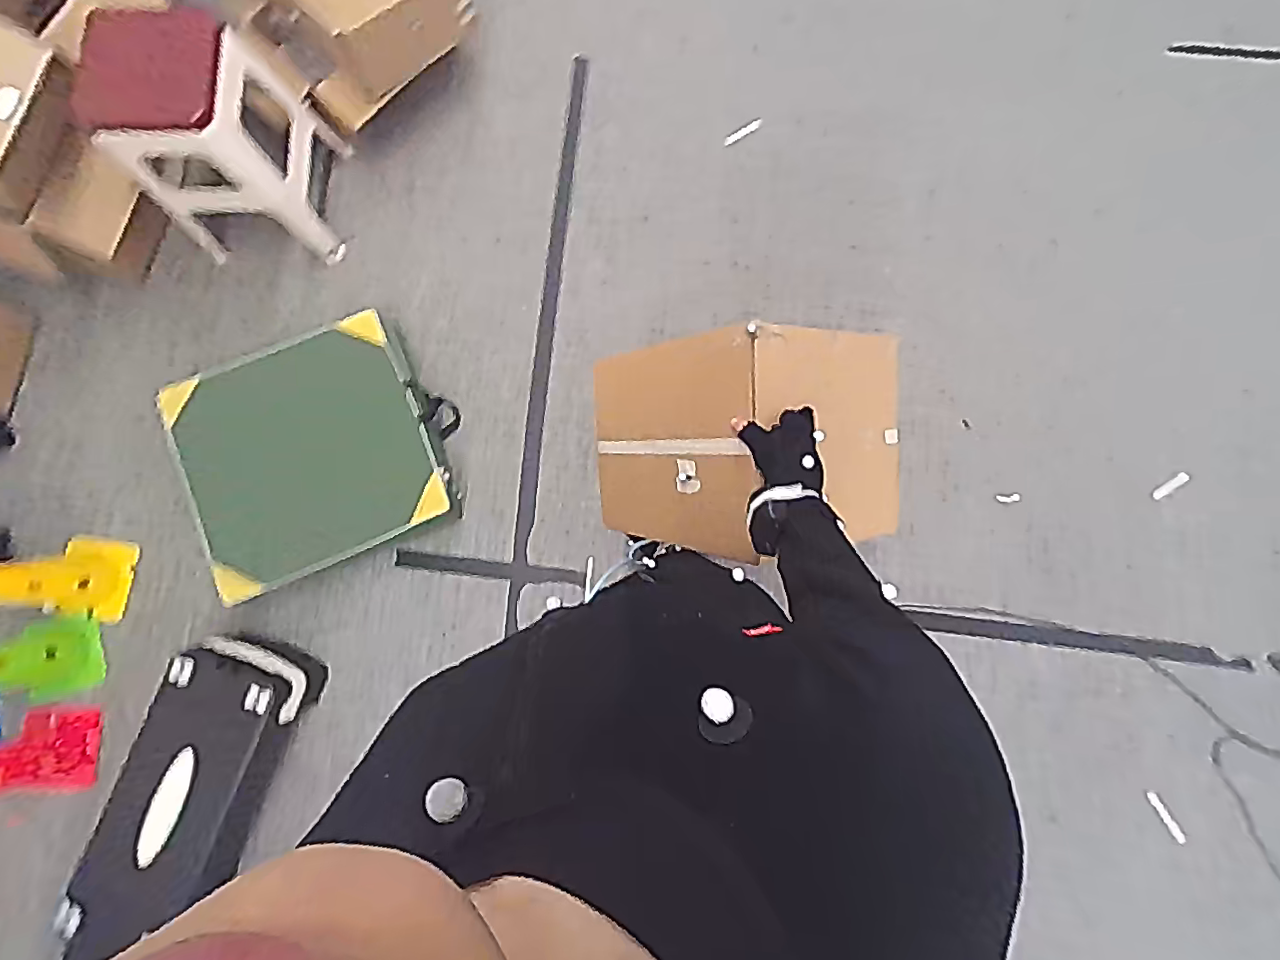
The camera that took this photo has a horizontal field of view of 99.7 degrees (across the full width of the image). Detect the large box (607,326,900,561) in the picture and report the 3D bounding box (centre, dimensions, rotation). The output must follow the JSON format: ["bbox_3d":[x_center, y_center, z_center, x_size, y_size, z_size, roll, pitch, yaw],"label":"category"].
[{"bbox_3d":[0.175,-0.065,0.940,0.320,0.408,0.320,-6,98,-34],"label":"large box"}]
